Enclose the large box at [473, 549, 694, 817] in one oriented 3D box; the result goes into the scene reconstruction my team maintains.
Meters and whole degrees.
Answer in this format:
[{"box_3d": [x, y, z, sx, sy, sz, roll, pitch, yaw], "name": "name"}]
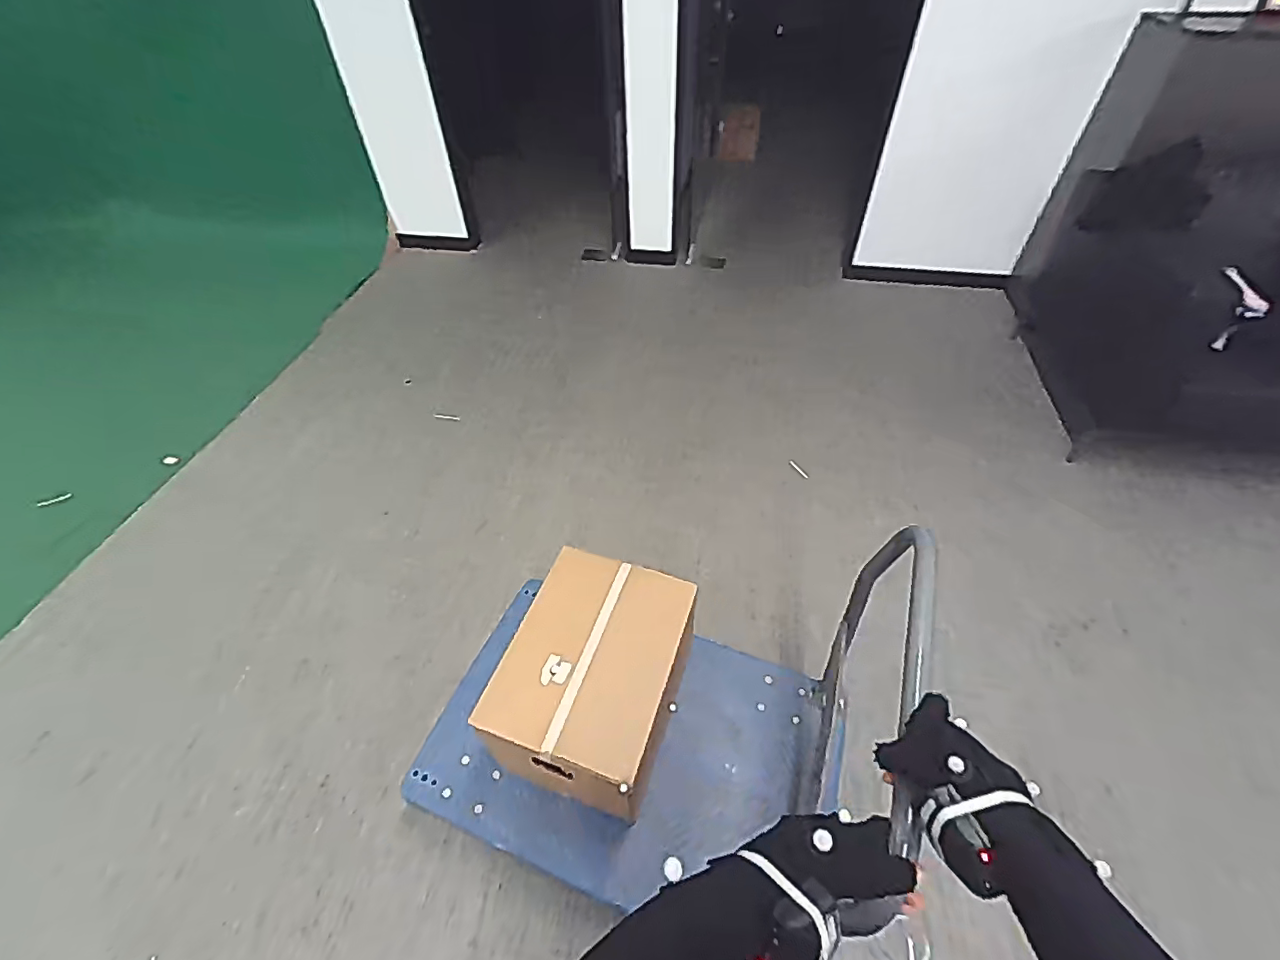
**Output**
[{"box_3d": [-0.089, 0.425, 1.158, 0.320, 0.320, 0.408, 14, 51, 15], "name": "large box"}]
